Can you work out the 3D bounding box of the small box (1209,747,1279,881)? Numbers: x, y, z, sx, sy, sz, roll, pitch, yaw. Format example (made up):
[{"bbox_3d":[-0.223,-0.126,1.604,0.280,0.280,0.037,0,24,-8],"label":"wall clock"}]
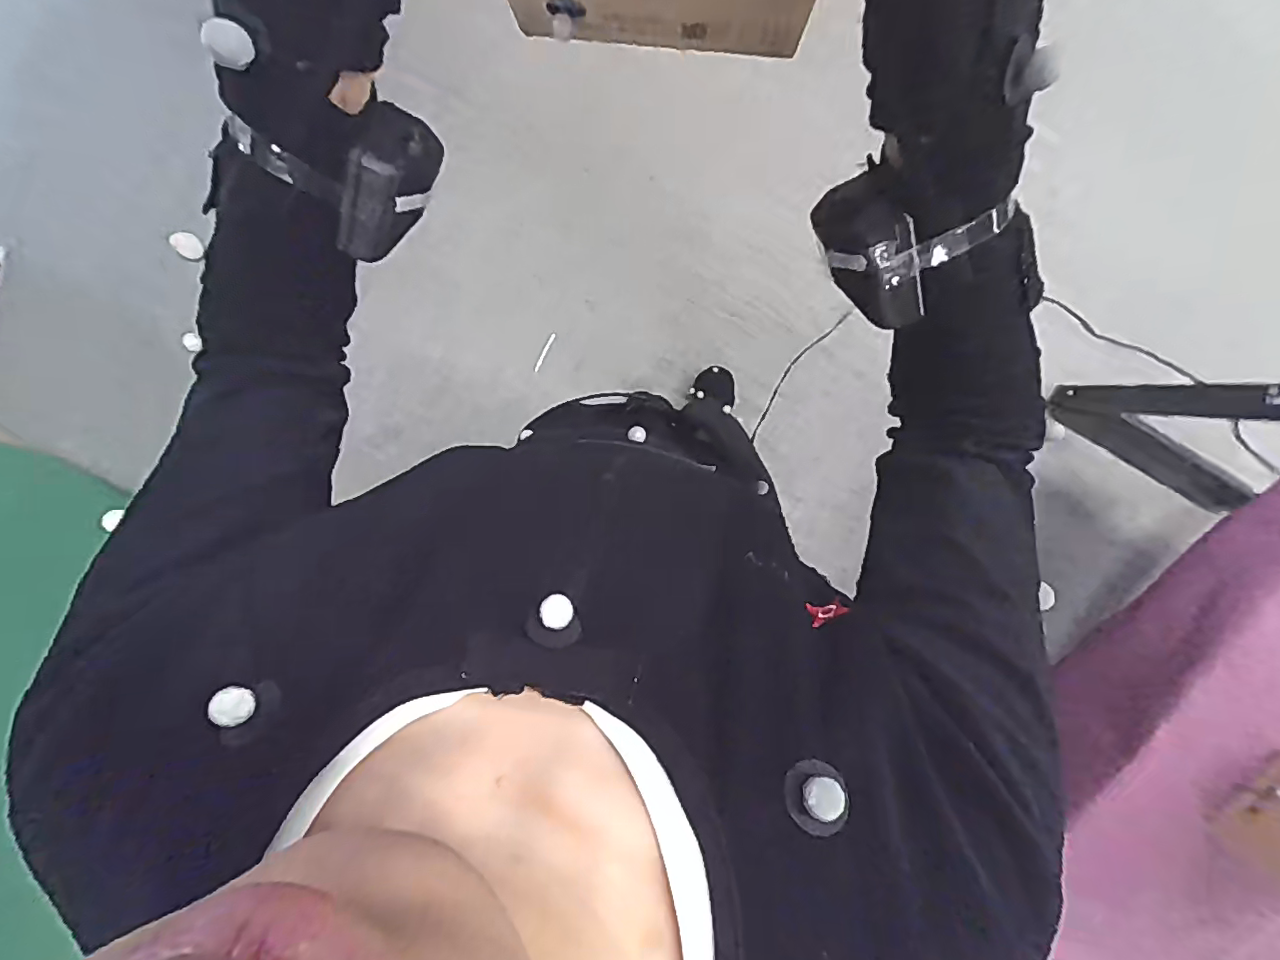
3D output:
[{"bbox_3d":[0.932,0.489,0.698,0.179,0.176,0.168,34,99,-3],"label":"small box"}]
